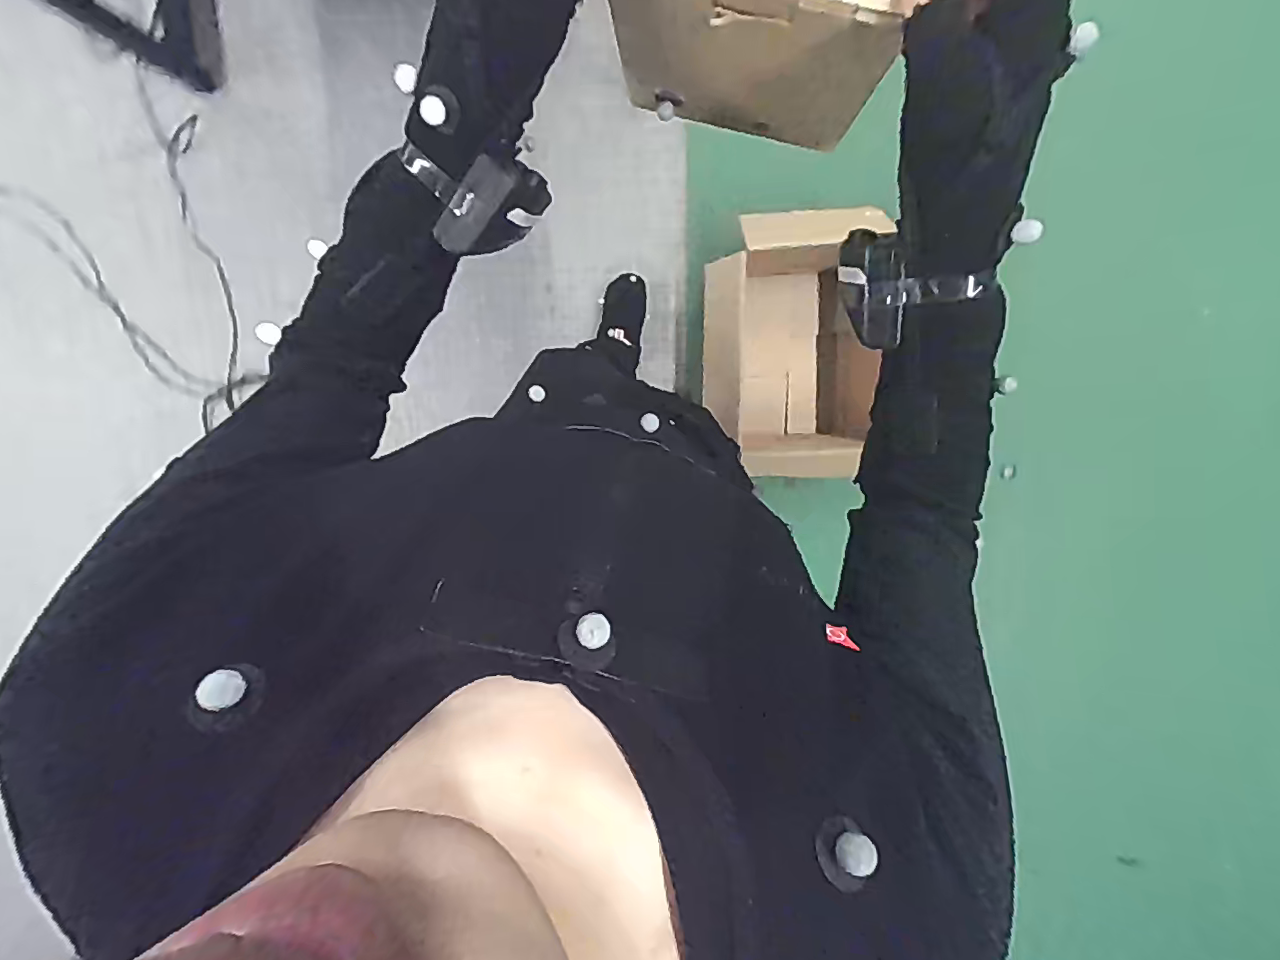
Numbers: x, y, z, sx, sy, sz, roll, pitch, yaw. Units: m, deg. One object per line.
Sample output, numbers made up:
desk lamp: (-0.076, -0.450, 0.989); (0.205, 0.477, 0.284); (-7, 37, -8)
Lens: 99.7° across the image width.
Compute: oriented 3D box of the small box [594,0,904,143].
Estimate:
small box: (0.076, -0.341, 0.330); (0.168, 0.176, 0.179); (13, 102, 1)
